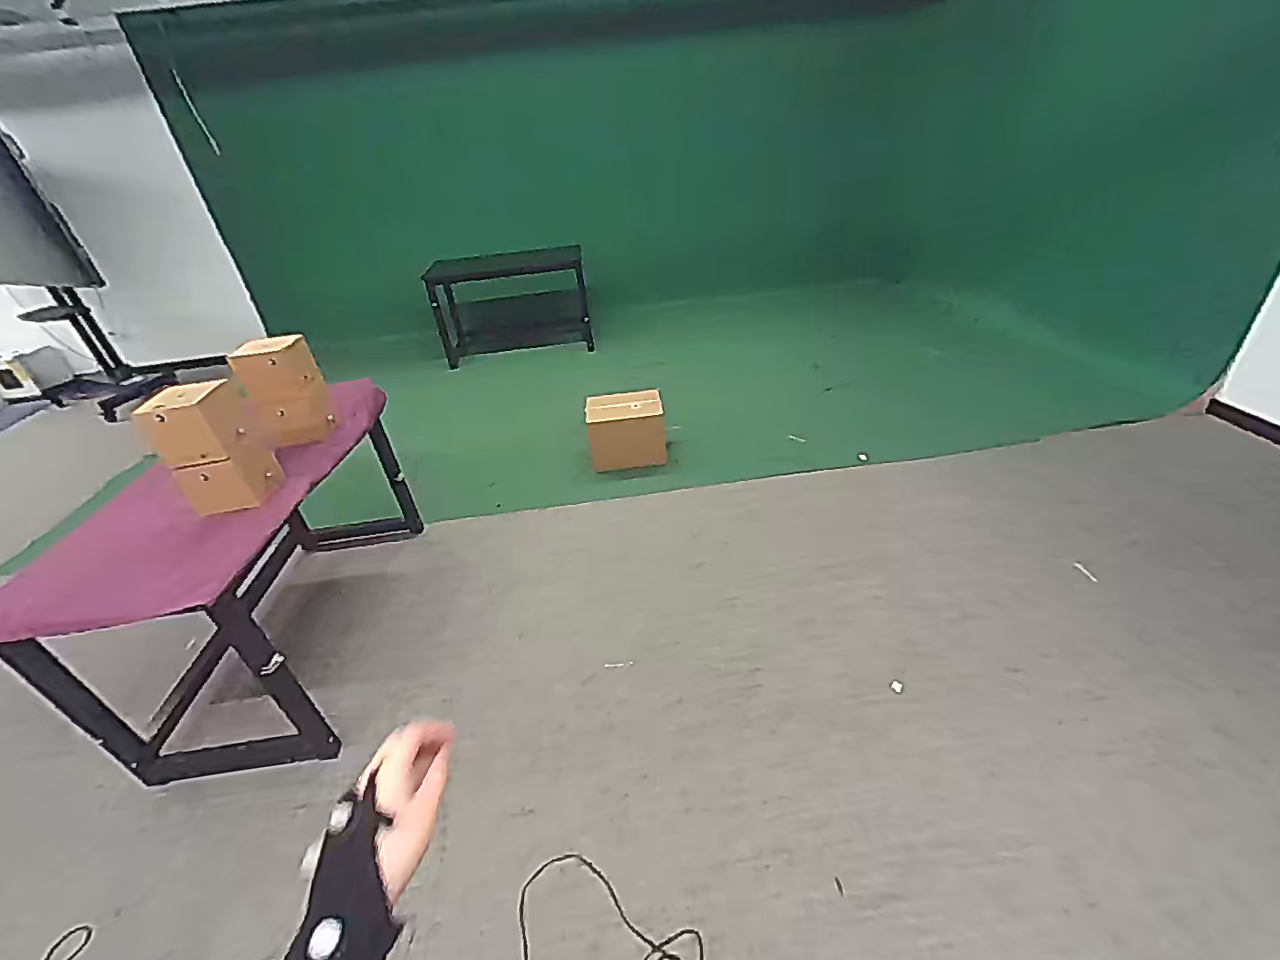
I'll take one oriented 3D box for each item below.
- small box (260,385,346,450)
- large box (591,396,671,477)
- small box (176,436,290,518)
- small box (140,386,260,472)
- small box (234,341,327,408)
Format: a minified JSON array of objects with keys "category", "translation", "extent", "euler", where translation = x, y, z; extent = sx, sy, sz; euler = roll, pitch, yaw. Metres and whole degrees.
[{"category":"small box","translation":[-1.187,-0.219,1.919],"extent":[0.179,0.176,0.168],"euler":[-7,33,-1]},{"category":"large box","translation":[-0.053,-0.238,2.956],"extent":[0.408,0.320,0.320],"euler":[-6,33,0]},{"category":"small box","translation":[-1.182,-0.006,1.585],"extent":[0.179,0.176,0.168],"euler":[-10,33,-2]},{"category":"small box","translation":[-1.199,-0.142,1.496],"extent":[0.168,0.176,0.179],"euler":[-10,32,-2]},{"category":"small box","translation":[-1.209,-0.354,1.832],"extent":[0.179,0.176,0.168],"euler":[-8,33,-1]}]
